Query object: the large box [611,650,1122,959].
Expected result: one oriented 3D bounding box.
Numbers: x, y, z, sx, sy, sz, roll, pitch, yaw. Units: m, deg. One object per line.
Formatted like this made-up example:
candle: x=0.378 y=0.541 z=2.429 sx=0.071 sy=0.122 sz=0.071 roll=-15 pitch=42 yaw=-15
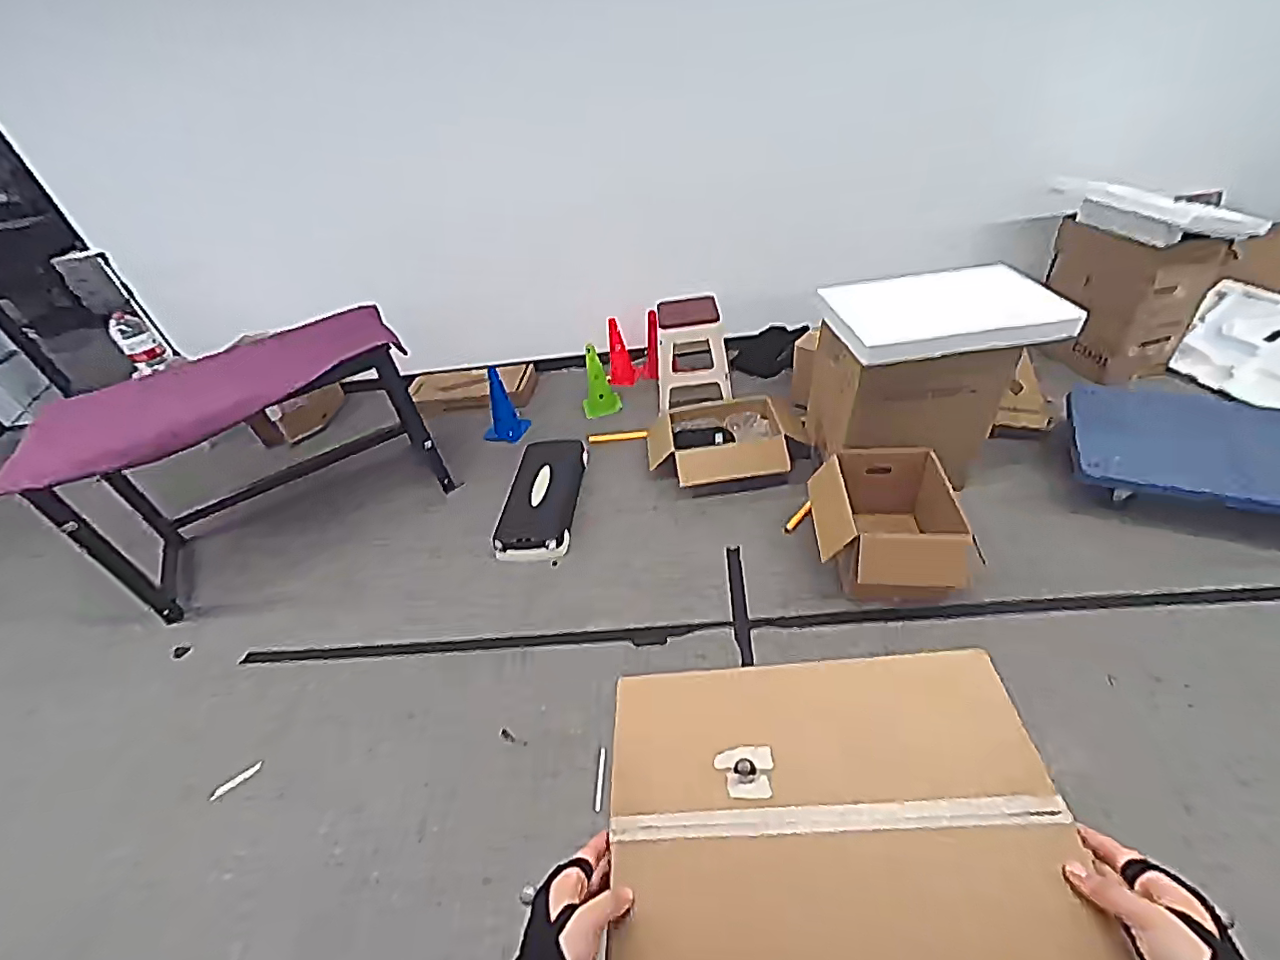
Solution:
large box: x=0.200 y=0.427 z=0.608 sx=0.408 sy=0.320 sz=0.320 roll=-8 pitch=41 yaw=8
